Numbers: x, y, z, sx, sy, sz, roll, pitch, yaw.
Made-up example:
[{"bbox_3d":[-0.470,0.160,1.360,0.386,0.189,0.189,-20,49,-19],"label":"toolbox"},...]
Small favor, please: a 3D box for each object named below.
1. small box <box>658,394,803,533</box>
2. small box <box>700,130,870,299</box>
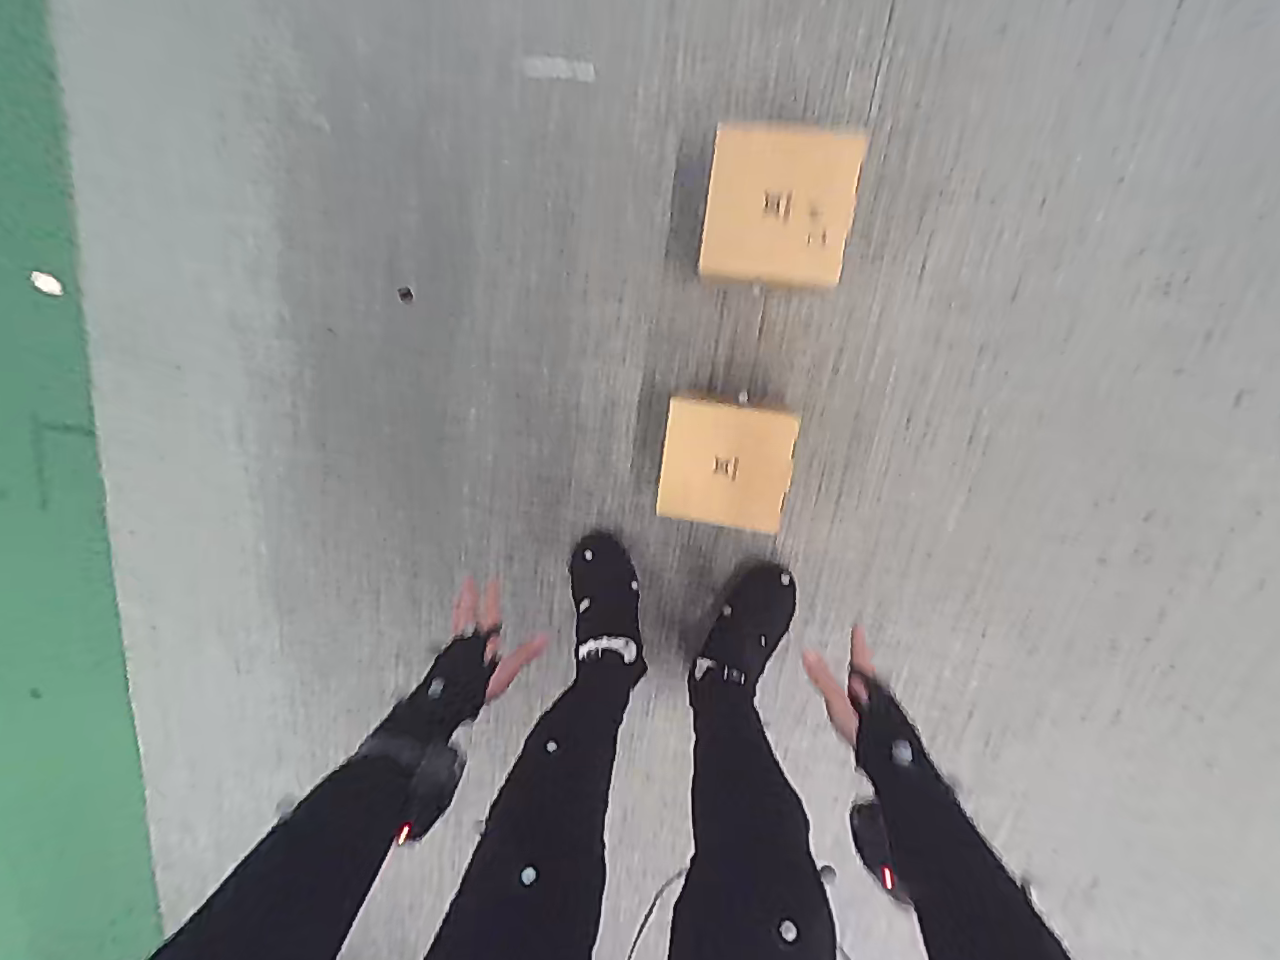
[{"bbox_3d":[0.132,-0.035,0.815,0.179,0.176,0.168,9,104,6],"label":"small box"},{"bbox_3d":[0.184,-0.344,0.730,0.179,0.176,0.168,10,105,6],"label":"small box"}]
